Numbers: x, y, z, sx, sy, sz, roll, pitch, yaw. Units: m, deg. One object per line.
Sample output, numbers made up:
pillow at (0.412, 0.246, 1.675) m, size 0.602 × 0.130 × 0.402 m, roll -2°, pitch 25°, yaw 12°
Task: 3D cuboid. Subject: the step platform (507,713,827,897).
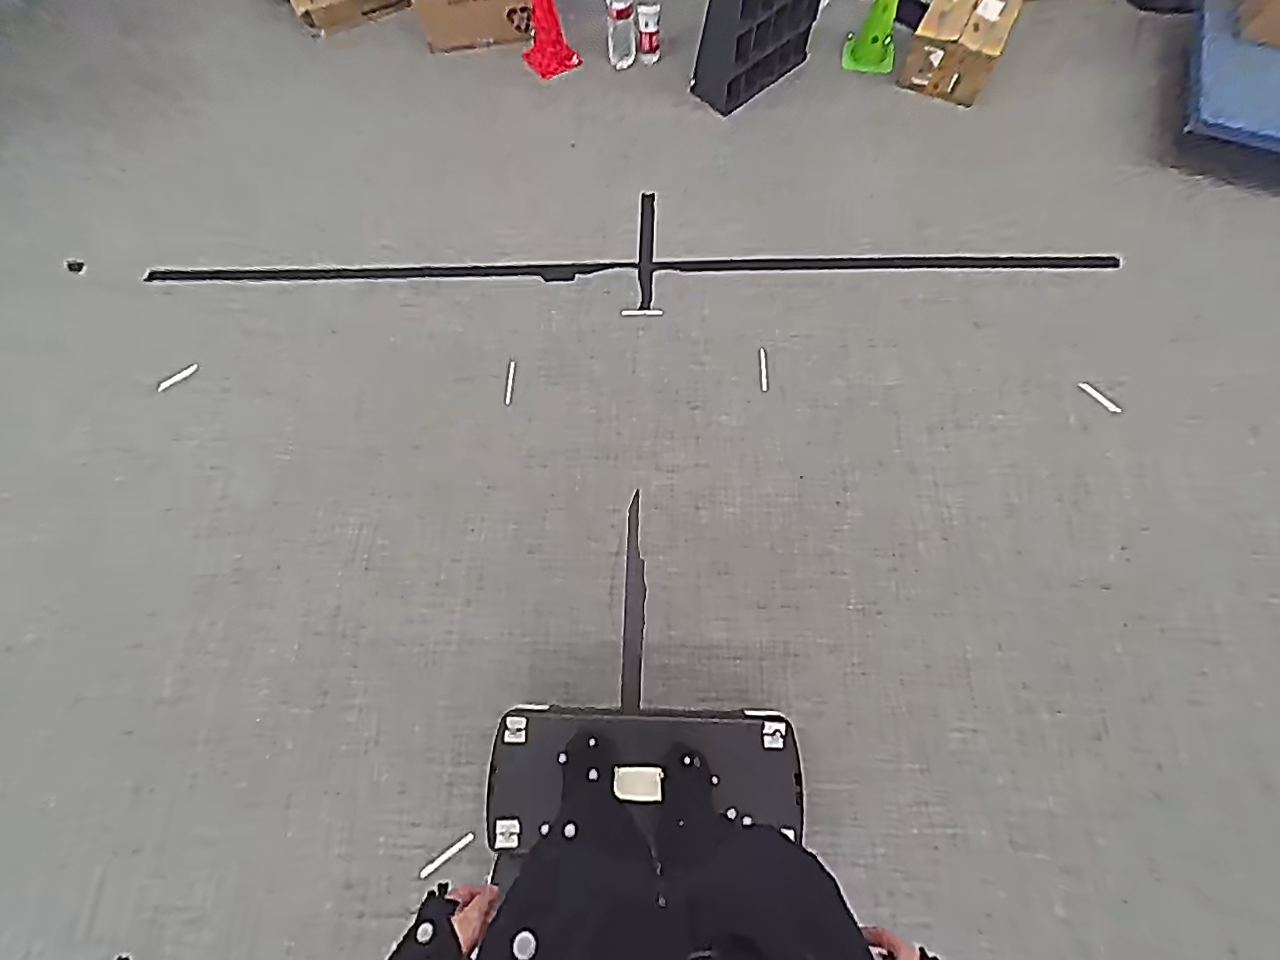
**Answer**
step platform at (0.056, 0.705, 1.205) m, size 0.684 × 0.204 × 0.286 m, roll 5°, pitch 68°, yaw 3°
